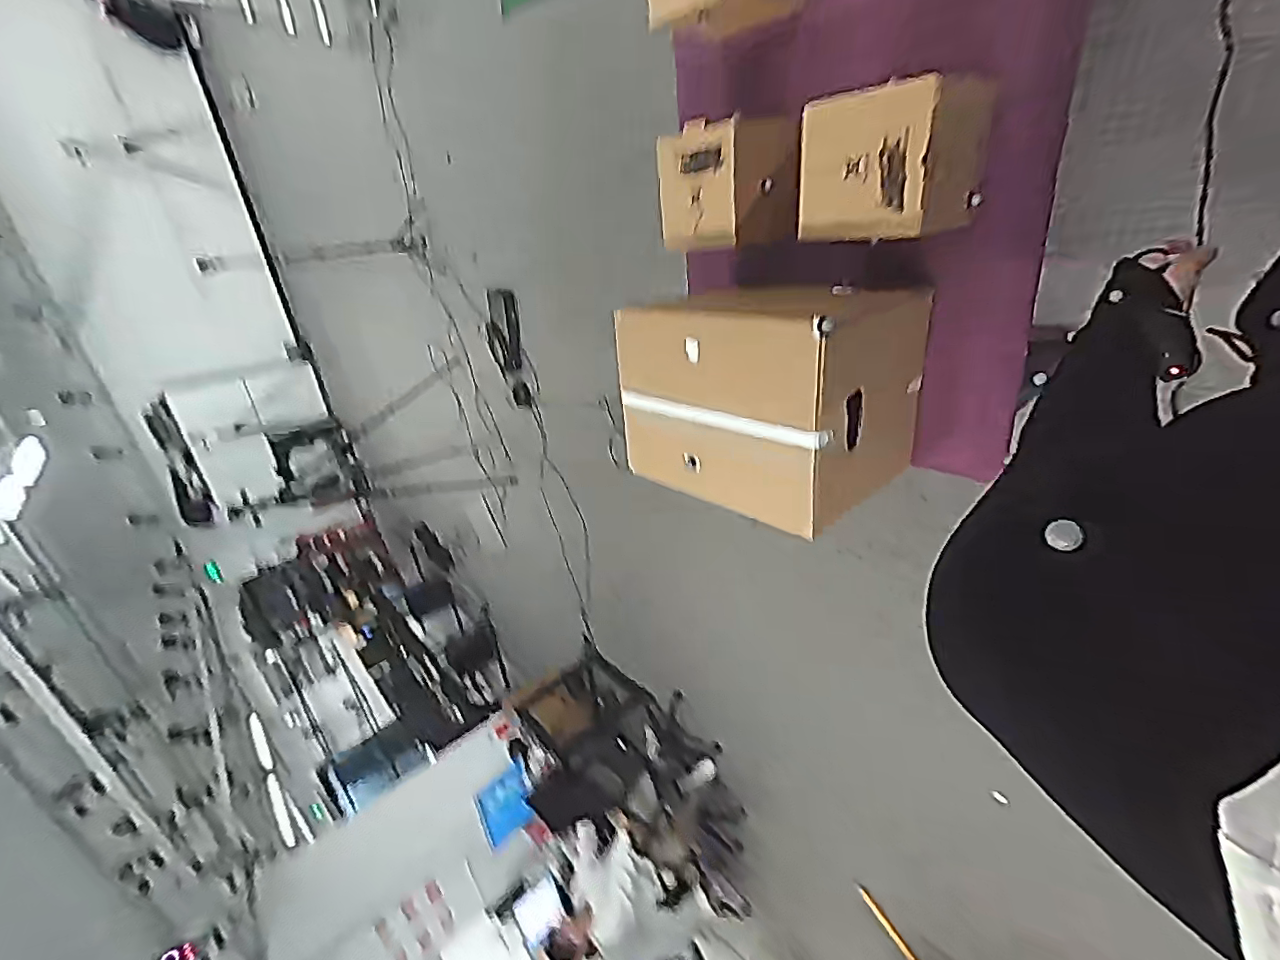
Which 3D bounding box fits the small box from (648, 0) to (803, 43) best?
[{"bbox_3d":[0.125,-0.776,0.800,0.179,0.176,0.168,22,128,44],"label":"small box"}]
